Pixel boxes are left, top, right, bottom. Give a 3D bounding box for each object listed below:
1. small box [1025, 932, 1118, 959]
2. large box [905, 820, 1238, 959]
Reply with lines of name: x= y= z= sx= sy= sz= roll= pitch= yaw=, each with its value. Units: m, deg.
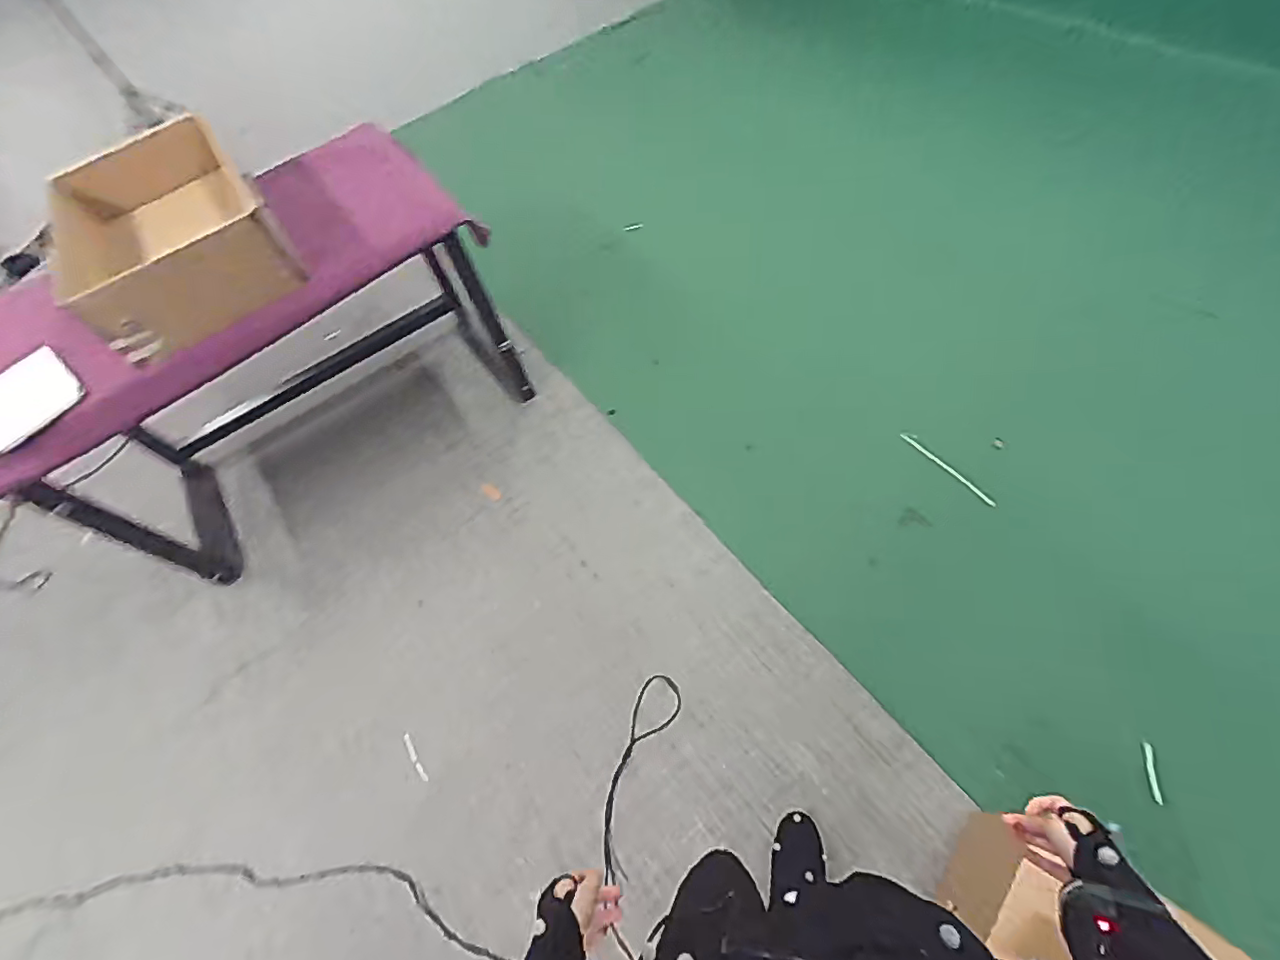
small box: x=0.619 y=0.752 z=0.720 sx=0.168 sy=0.176 sz=0.179 roll=-43 pitch=62 yaw=-16
large box: x=0.692 y=0.875 z=0.924 sx=0.320 sy=0.320 sz=0.408 roll=33 pitch=68 yaw=24
